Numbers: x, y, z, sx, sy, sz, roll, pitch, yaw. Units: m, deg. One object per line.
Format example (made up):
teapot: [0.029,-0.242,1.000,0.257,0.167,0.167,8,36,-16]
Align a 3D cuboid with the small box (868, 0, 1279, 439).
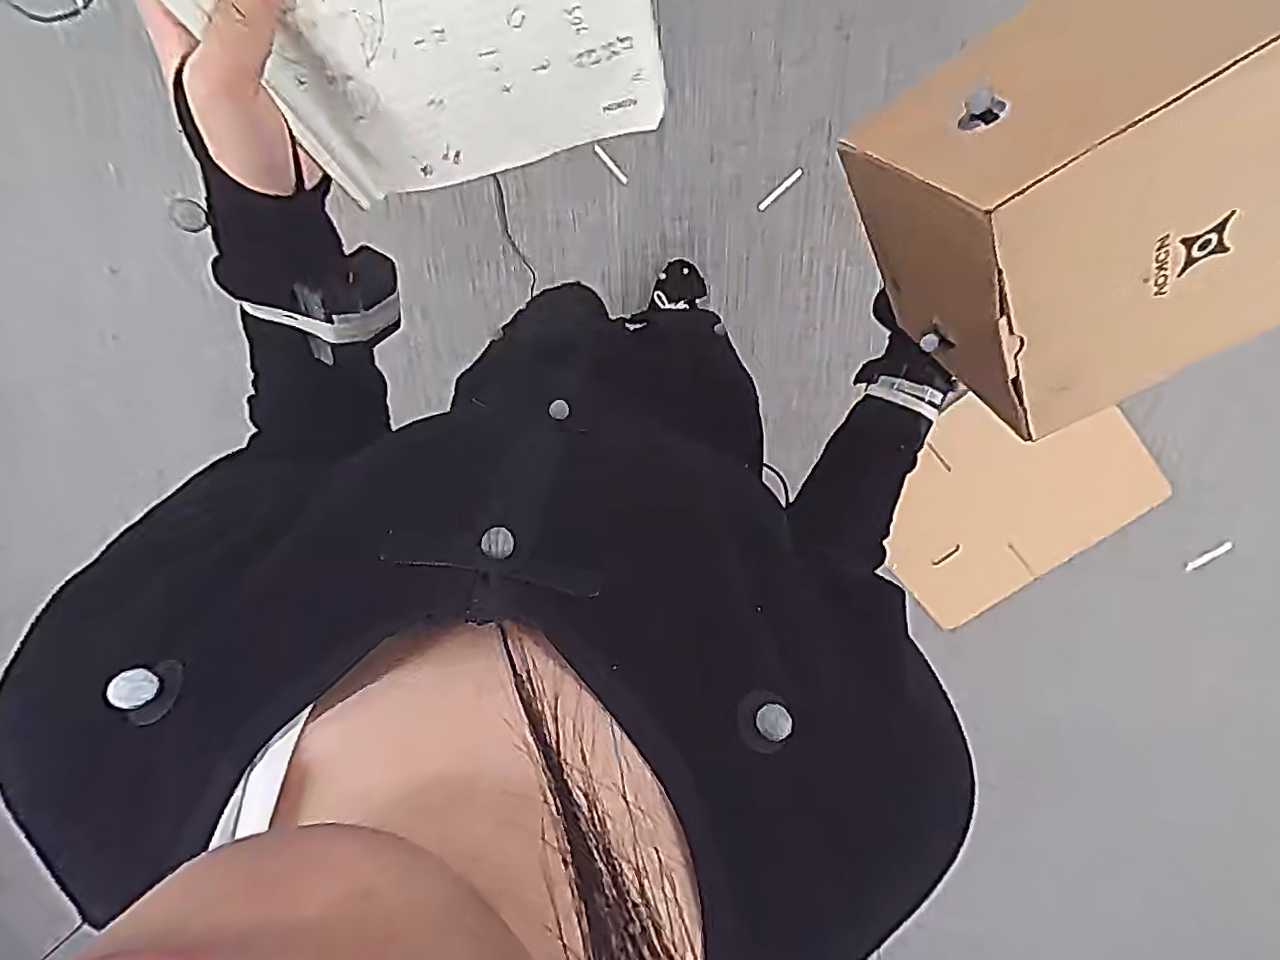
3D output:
small box: [0.258,-0.163,0.316,0.179,0.176,0.168,-31,130,17]
